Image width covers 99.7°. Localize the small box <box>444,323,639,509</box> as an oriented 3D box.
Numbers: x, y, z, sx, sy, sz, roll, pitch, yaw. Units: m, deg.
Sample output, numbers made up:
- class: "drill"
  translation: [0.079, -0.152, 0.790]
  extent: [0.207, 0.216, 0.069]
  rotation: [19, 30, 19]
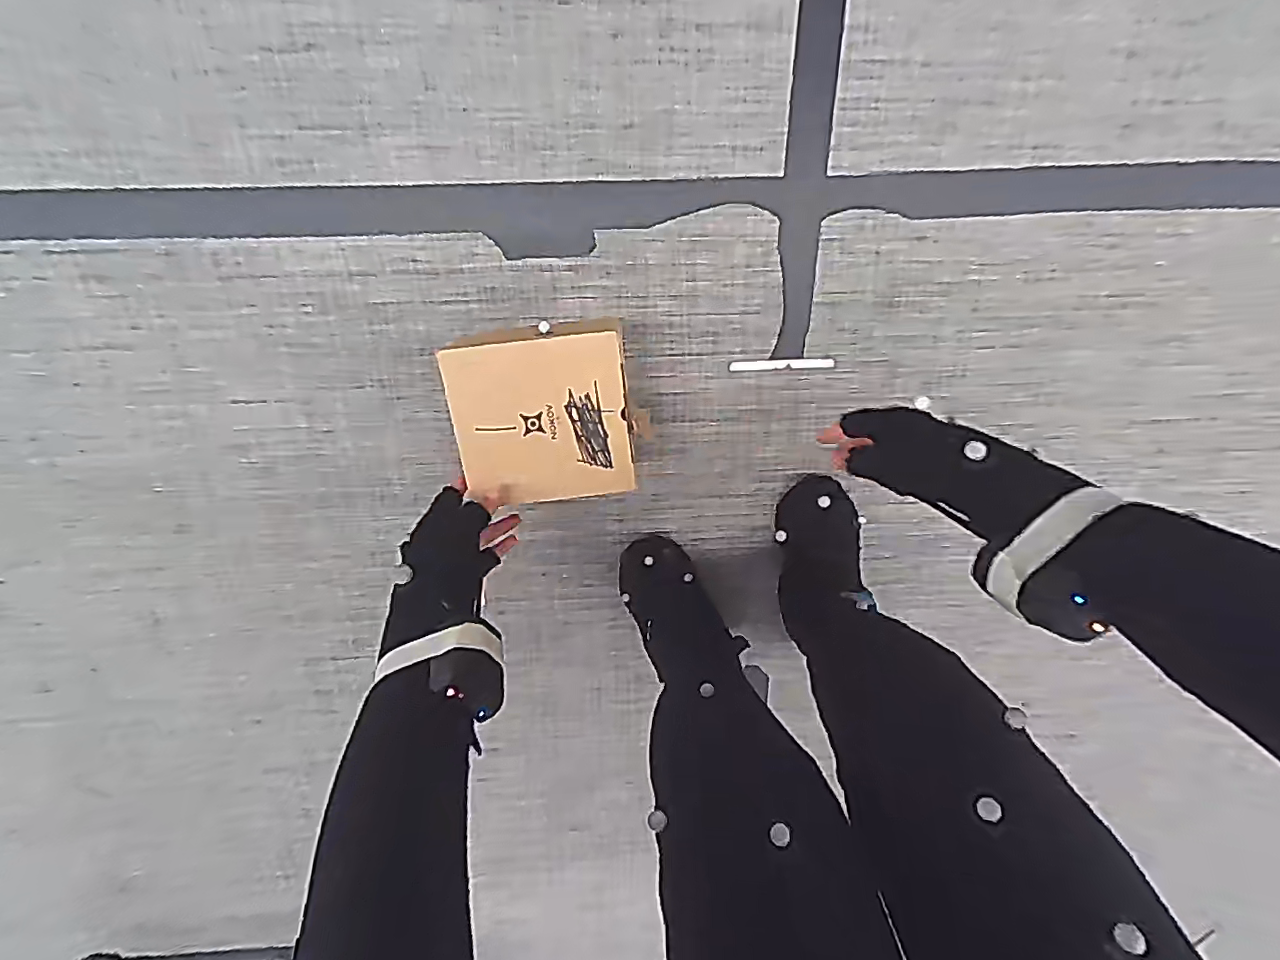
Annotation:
- class: "small box"
  translation: [-0.099, -0.082, 0.617]
  extent: [0.179, 0.176, 0.168]
  rotation: [-6, 111, 0]
